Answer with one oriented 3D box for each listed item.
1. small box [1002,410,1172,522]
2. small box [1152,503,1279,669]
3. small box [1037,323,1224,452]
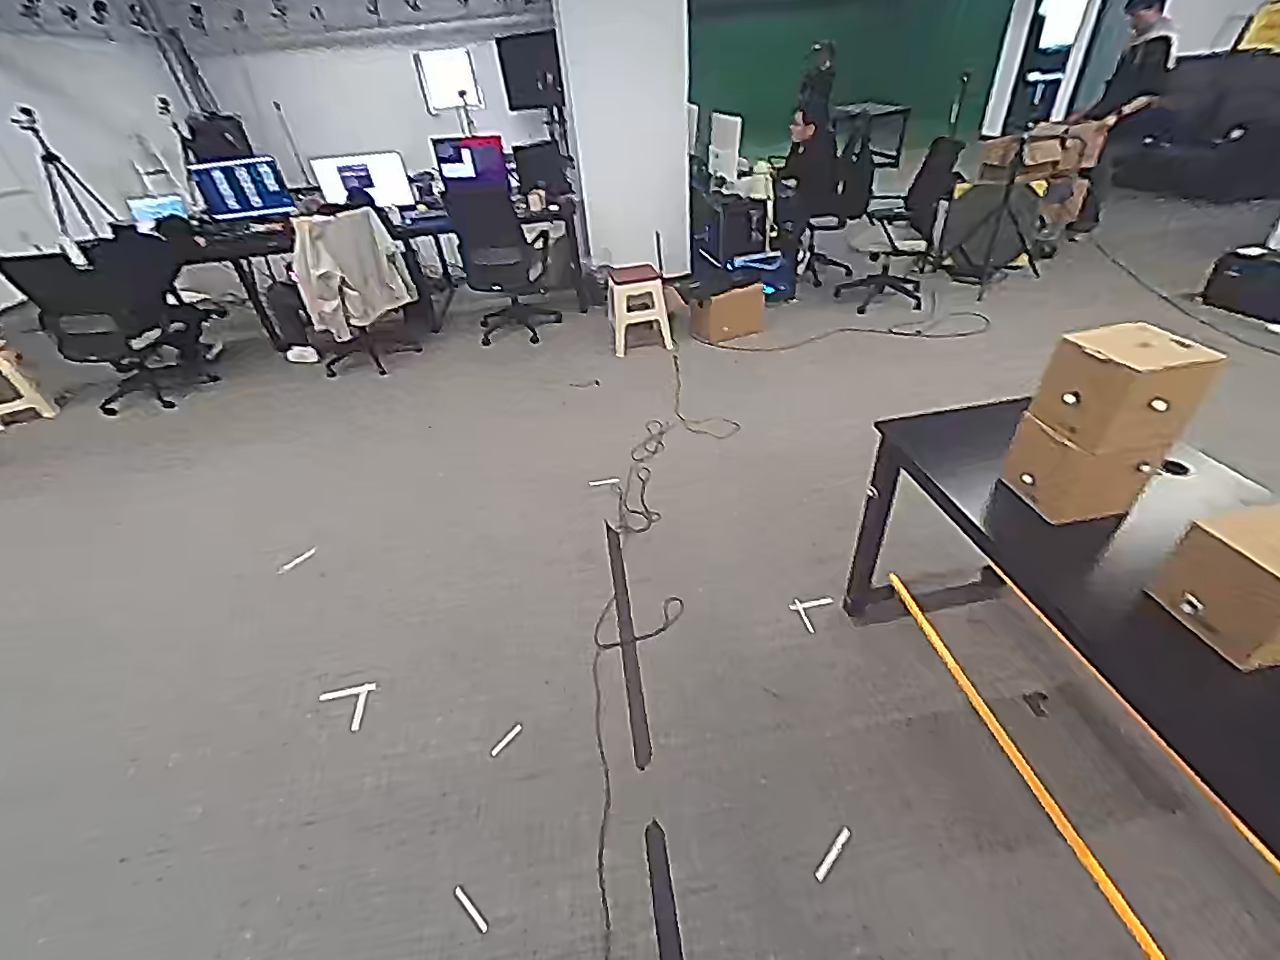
[{"bbox_3d":[0.885,-0.036,1.093,0.179,0.176,0.168,-9,37,-3],"label":"small box"},{"bbox_3d":[0.961,0.160,0.828,0.179,0.176,0.168,-11,36,-5],"label":"small box"},{"bbox_3d":[0.880,-0.169,0.997,0.179,0.176,0.168,-11,38,-5],"label":"small box"}]
